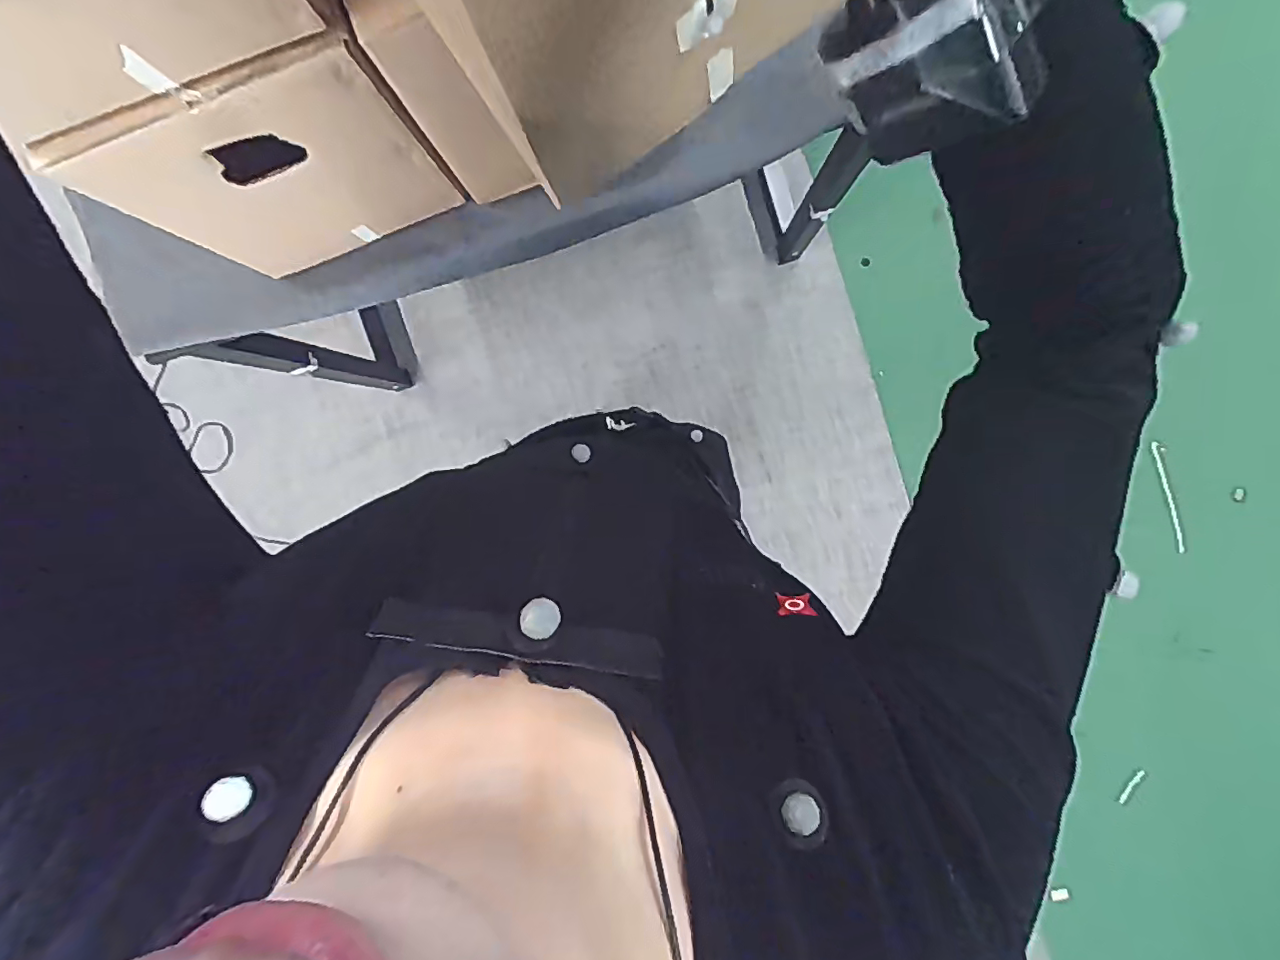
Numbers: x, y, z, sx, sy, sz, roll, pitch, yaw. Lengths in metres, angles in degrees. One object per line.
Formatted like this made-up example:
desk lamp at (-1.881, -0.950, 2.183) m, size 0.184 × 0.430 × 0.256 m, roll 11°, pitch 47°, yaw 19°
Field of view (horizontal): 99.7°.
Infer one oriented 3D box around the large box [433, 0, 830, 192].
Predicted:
large box at (-0.057, -0.466, 0.280) m, size 0.320 × 0.320 × 0.408 m, roll -35°, pitch 88°, yaw 4°
